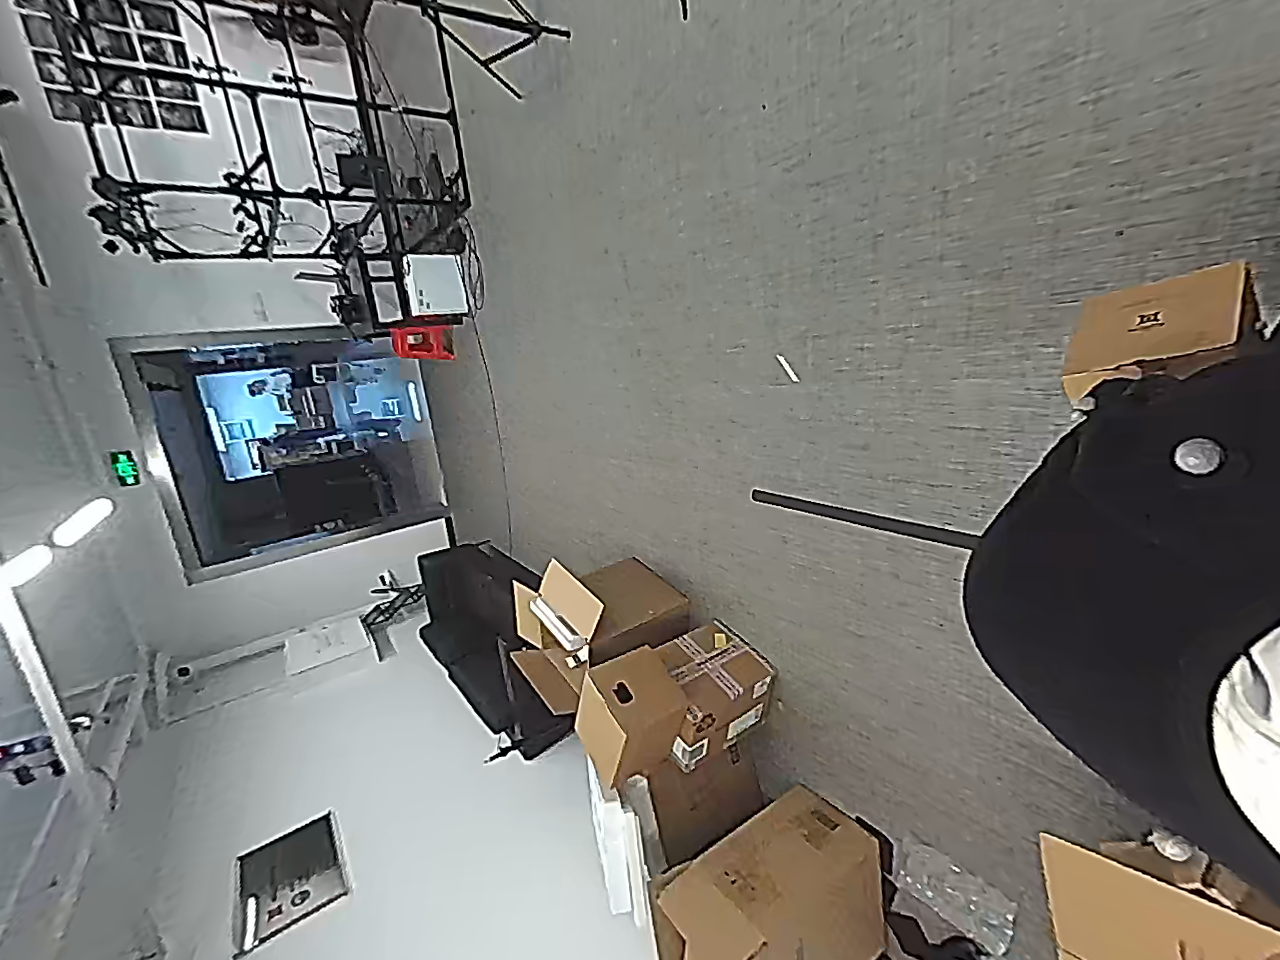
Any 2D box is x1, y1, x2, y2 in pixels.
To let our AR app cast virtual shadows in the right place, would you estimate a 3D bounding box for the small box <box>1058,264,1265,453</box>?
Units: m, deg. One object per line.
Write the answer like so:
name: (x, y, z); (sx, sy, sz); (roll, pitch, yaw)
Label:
small box: (0.711, -0.149, 0.735); (0.176, 0.179, 0.168); (49, 153, -22)
